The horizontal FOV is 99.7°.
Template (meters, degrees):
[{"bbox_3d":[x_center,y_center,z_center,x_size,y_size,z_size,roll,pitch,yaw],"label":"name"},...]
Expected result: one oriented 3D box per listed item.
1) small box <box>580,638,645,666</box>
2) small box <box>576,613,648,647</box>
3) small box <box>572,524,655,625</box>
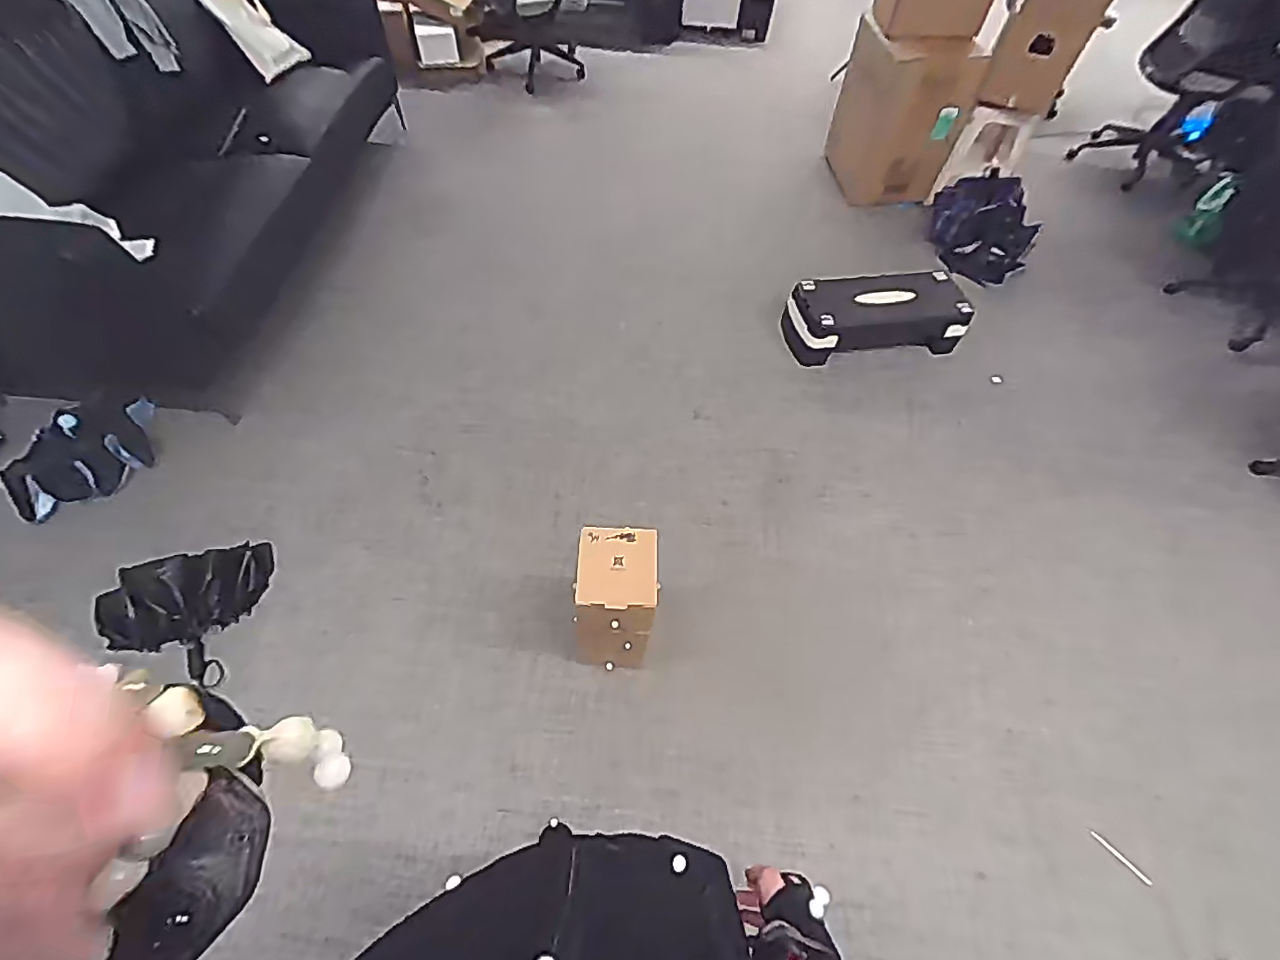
[{"bbox_3d":[-0.068,0.384,1.452,0.168,0.176,0.179,4,58,0],"label":"small box"},{"bbox_3d":[-0.061,0.298,1.316,0.168,0.176,0.179,4,56,-1],"label":"small box"},{"bbox_3d":[-0.053,0.211,1.177,0.168,0.176,0.179,2,59,-2],"label":"small box"}]
